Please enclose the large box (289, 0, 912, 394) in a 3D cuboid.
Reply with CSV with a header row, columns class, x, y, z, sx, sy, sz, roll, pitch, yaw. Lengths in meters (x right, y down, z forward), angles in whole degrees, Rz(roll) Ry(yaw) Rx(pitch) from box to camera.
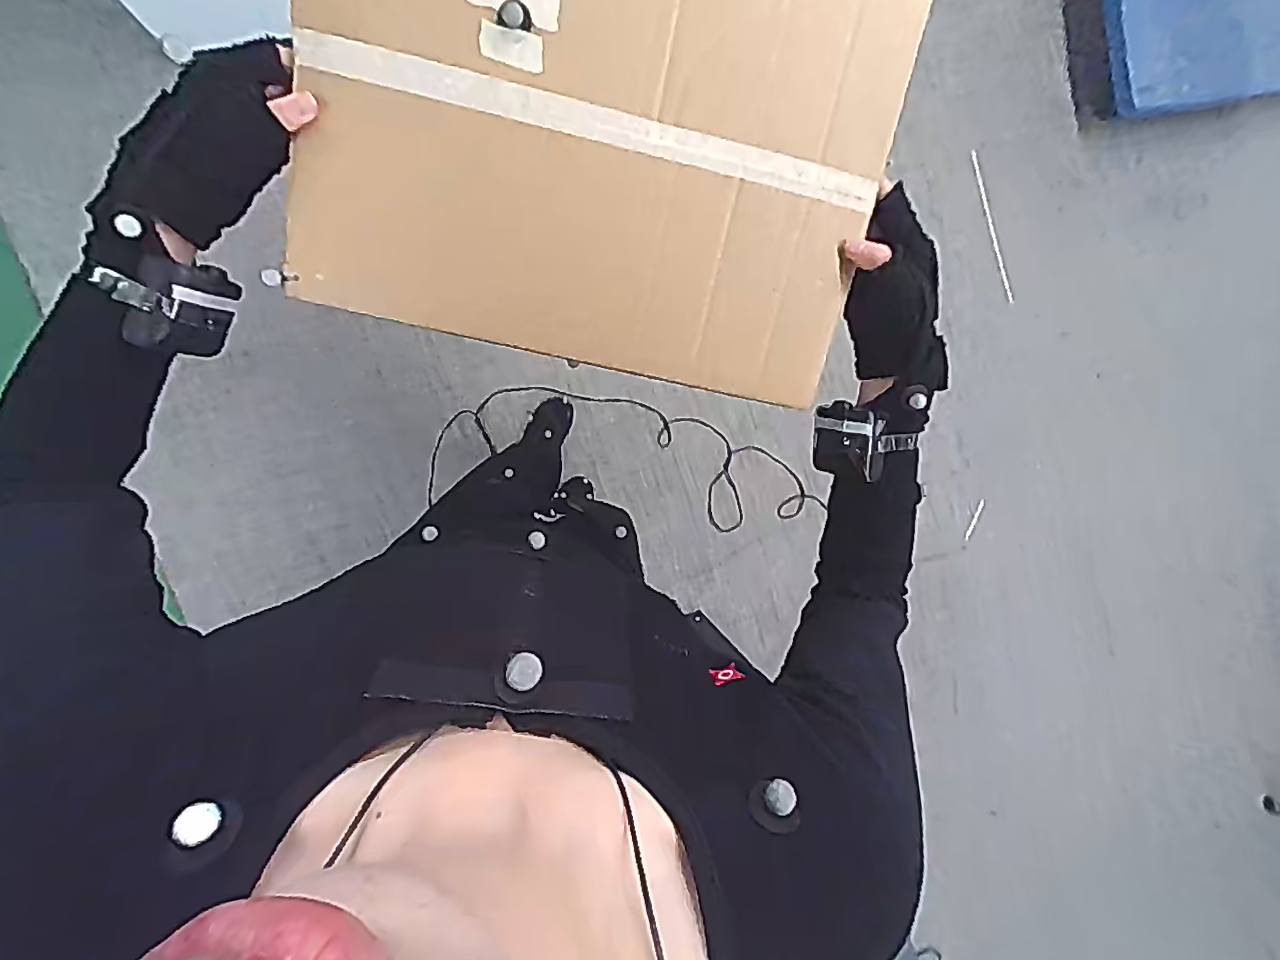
class,x,y,z,sx,sy,sz,roll,pitch,yaw
large box,-0.039,-0.285,0.520,0.408,0.320,0.320,11,103,-6
